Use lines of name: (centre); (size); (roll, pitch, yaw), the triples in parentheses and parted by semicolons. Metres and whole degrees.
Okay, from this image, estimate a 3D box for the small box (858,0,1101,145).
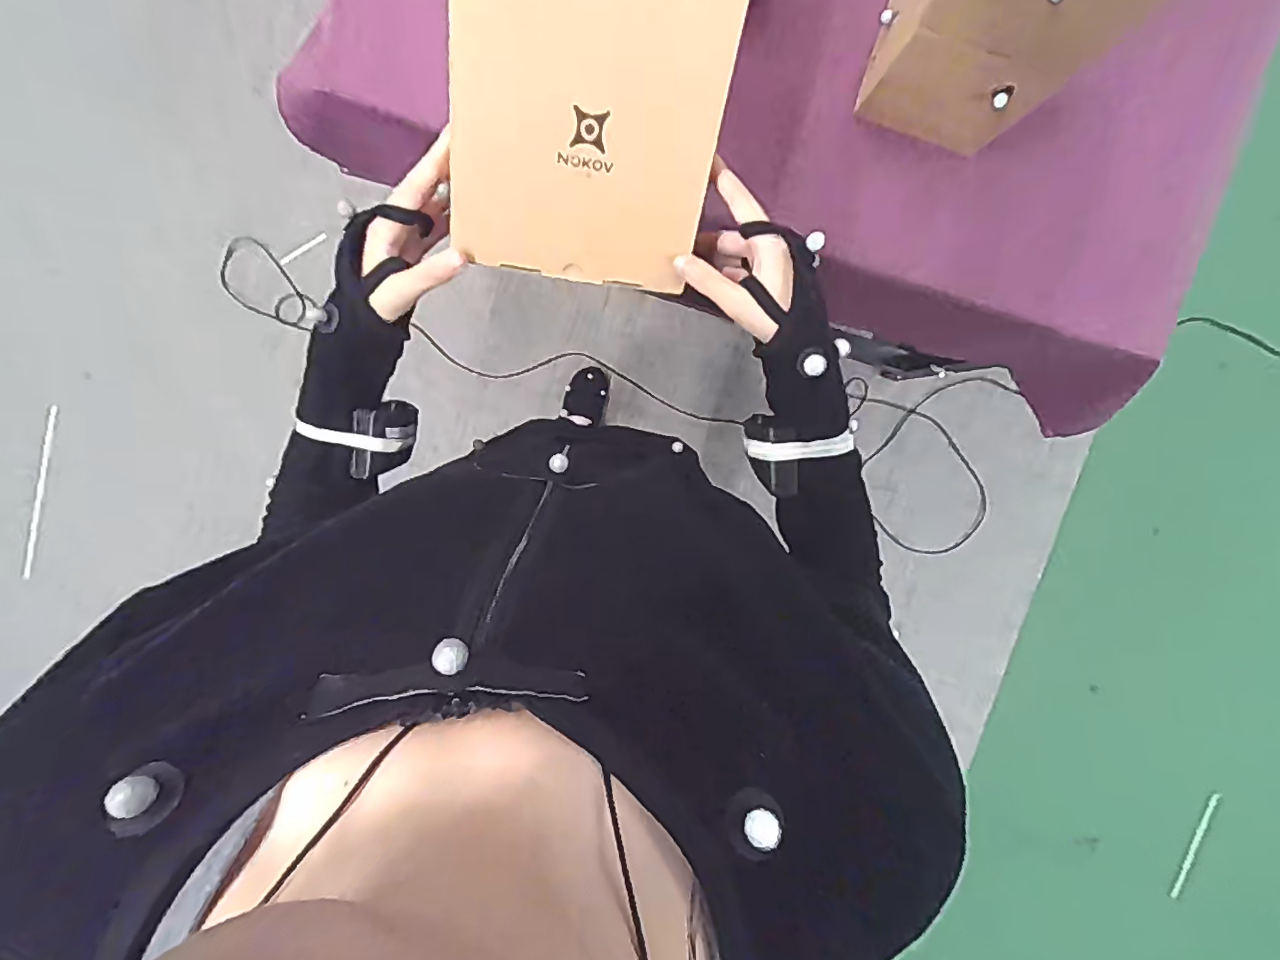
small box: (0.393, -0.531, 0.633); (0.179, 0.176, 0.168); (17, 96, -4)
